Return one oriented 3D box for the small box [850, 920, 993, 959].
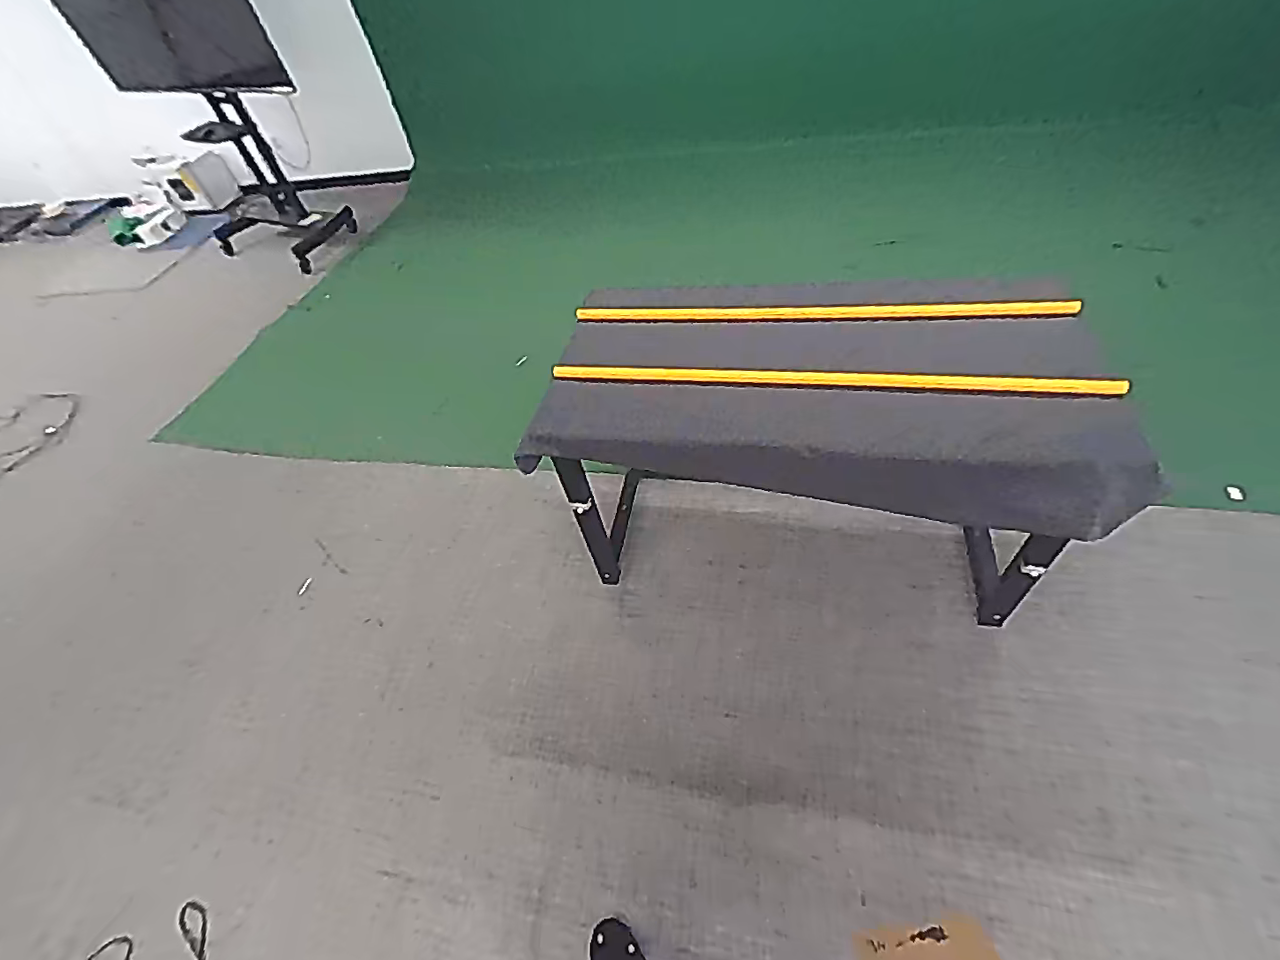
[{"bbox_3d":[0.377,0.687,0.638,0.168,0.179,0.176,-18,90,6],"label":"small box"}]
